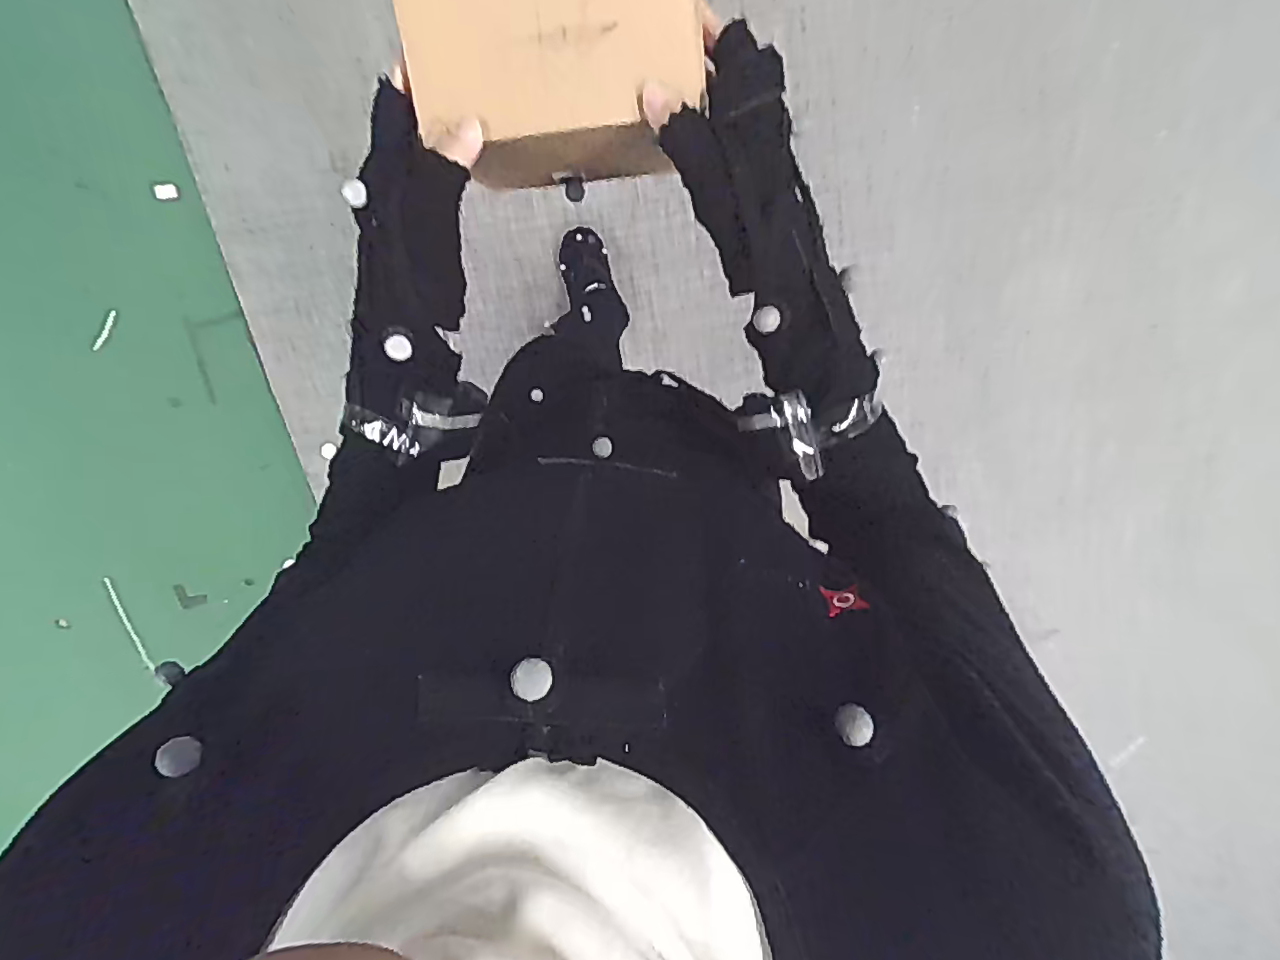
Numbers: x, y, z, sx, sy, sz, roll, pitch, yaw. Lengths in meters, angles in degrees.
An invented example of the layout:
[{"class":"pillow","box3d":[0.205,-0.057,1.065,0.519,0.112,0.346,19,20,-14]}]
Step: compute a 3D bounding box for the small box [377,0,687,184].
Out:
[{"class":"small box","box3d":[-0.060,-0.312,0.353,0.168,0.176,0.179,-5,110,3]}]
